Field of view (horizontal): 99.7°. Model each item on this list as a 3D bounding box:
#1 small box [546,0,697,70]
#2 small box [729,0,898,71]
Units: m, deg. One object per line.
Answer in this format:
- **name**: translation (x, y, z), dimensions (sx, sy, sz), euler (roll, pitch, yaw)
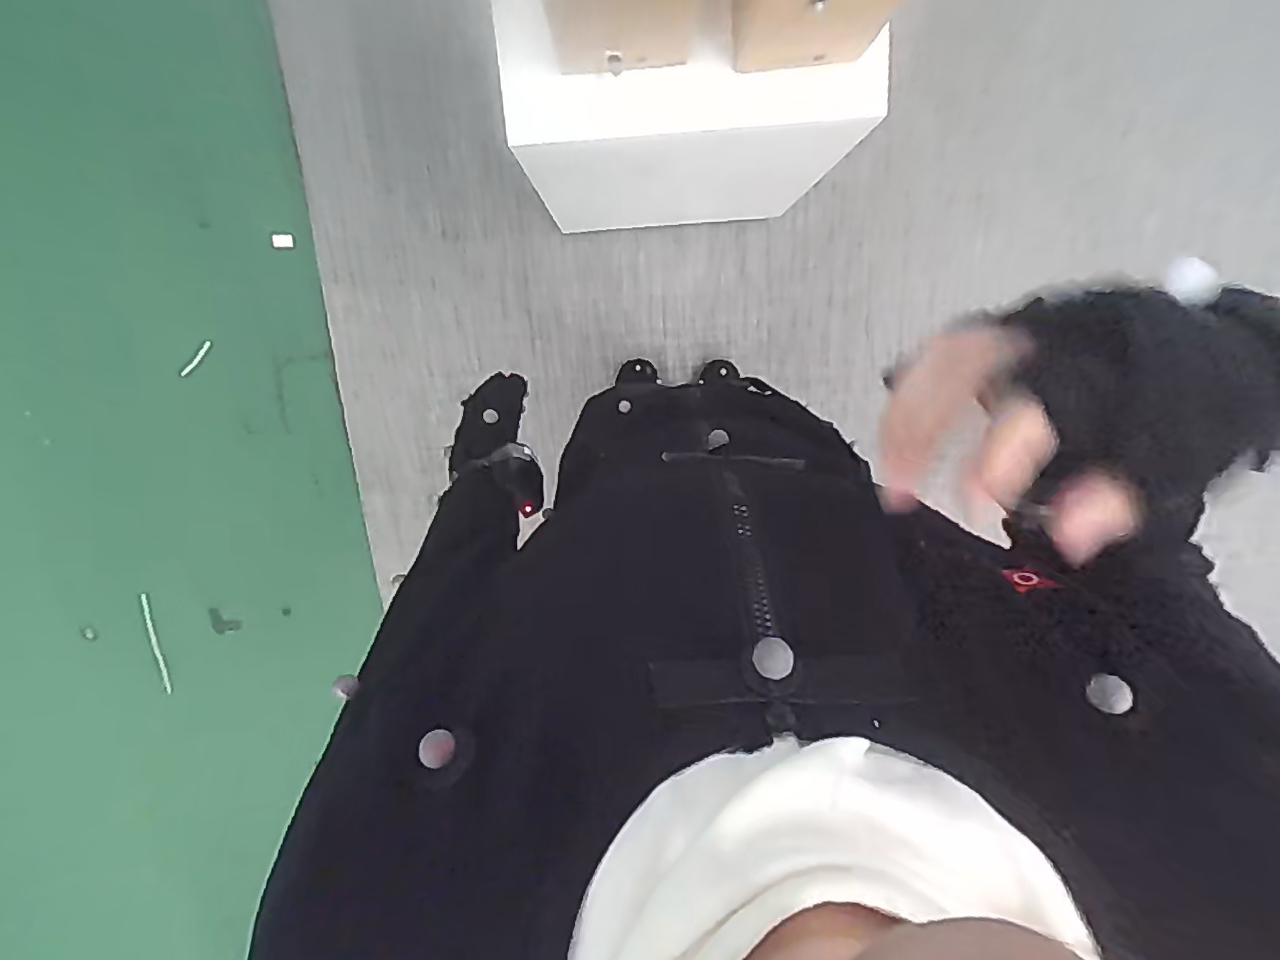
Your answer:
- **small box**: translation (-0.027, -0.598, 0.595), dimensions (0.168, 0.176, 0.179), euler (-6, 104, 1)
- **small box**: translation (0.193, -0.606, 0.608), dimensions (0.168, 0.176, 0.179), euler (-4, 102, 1)
